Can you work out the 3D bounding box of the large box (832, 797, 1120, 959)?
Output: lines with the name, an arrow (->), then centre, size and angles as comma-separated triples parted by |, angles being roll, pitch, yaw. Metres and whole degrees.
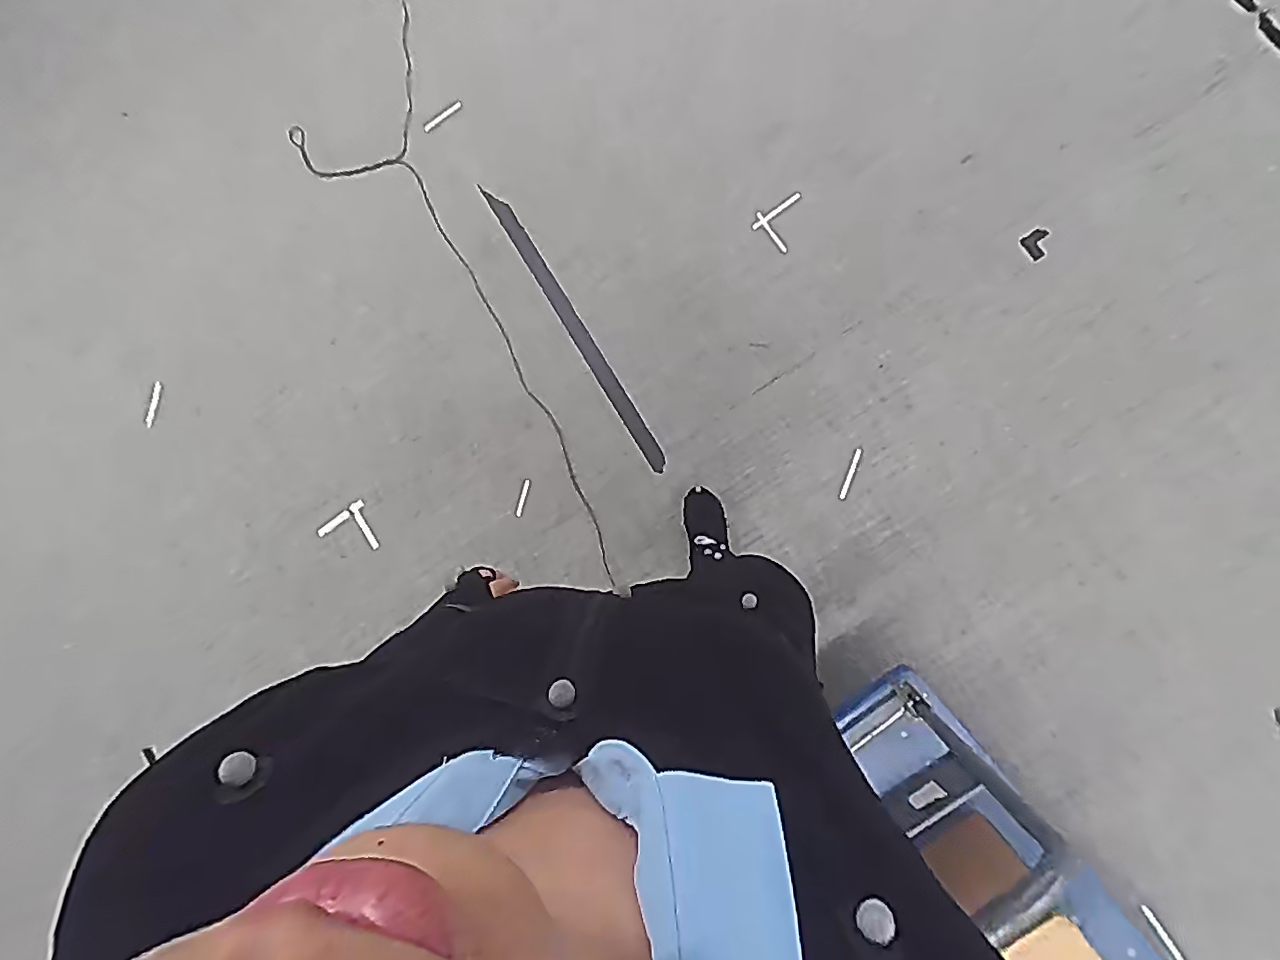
large box -> 0.645, 0.917, 1.028 | 0.408, 0.320, 0.320 | -39, 82, 4
